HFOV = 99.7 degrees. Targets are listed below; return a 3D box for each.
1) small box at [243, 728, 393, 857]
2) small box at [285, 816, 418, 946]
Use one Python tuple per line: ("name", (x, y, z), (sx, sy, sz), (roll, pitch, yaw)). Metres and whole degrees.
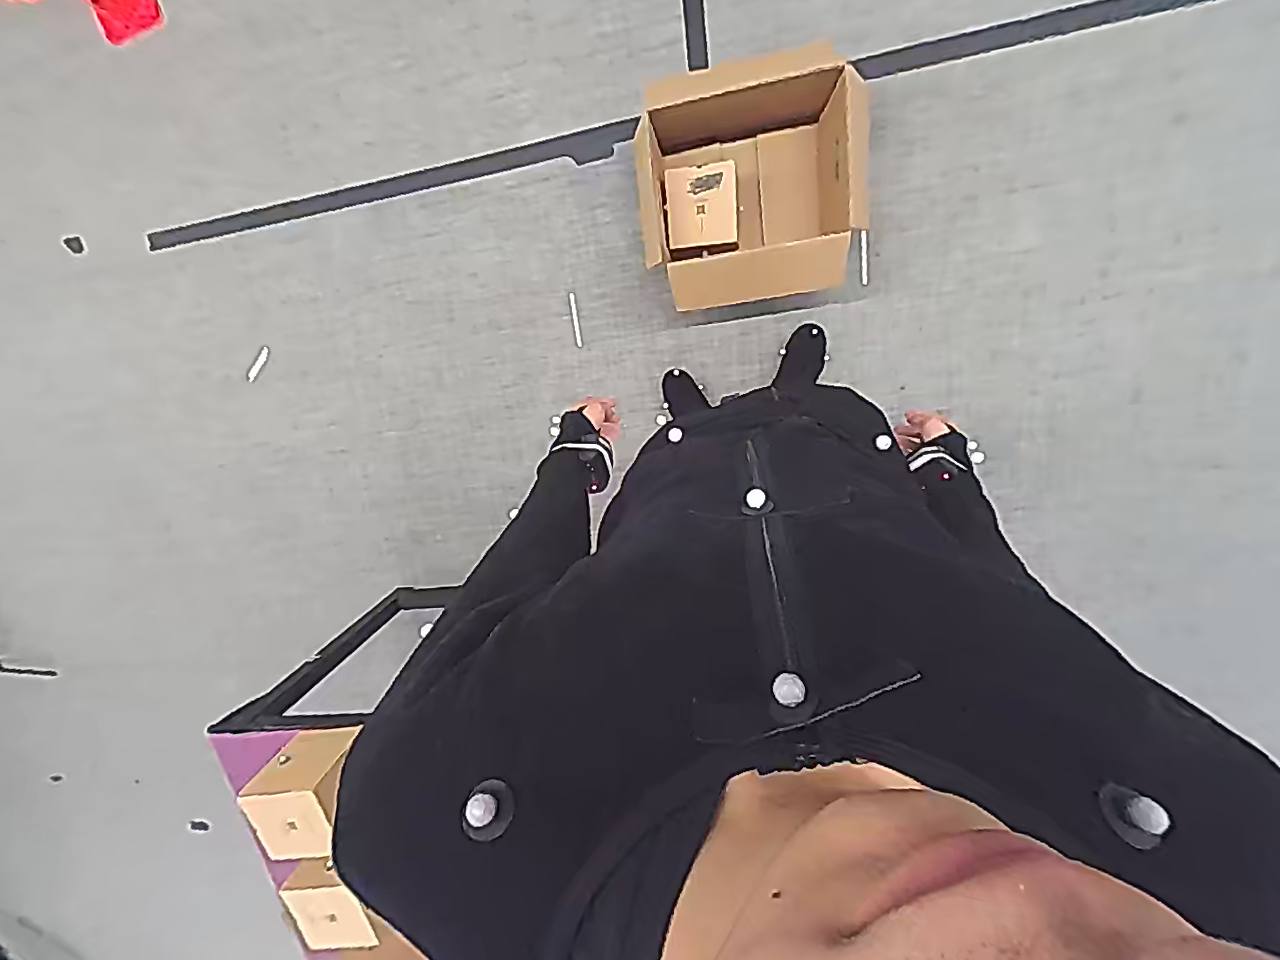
("small box", (-0.658, 0.644, 1.124), (0.179, 0.176, 0.168), (-10, 107, 12))
("small box", (-0.616, 0.871, 1.186), (0.179, 0.176, 0.168), (-12, 104, 13))
